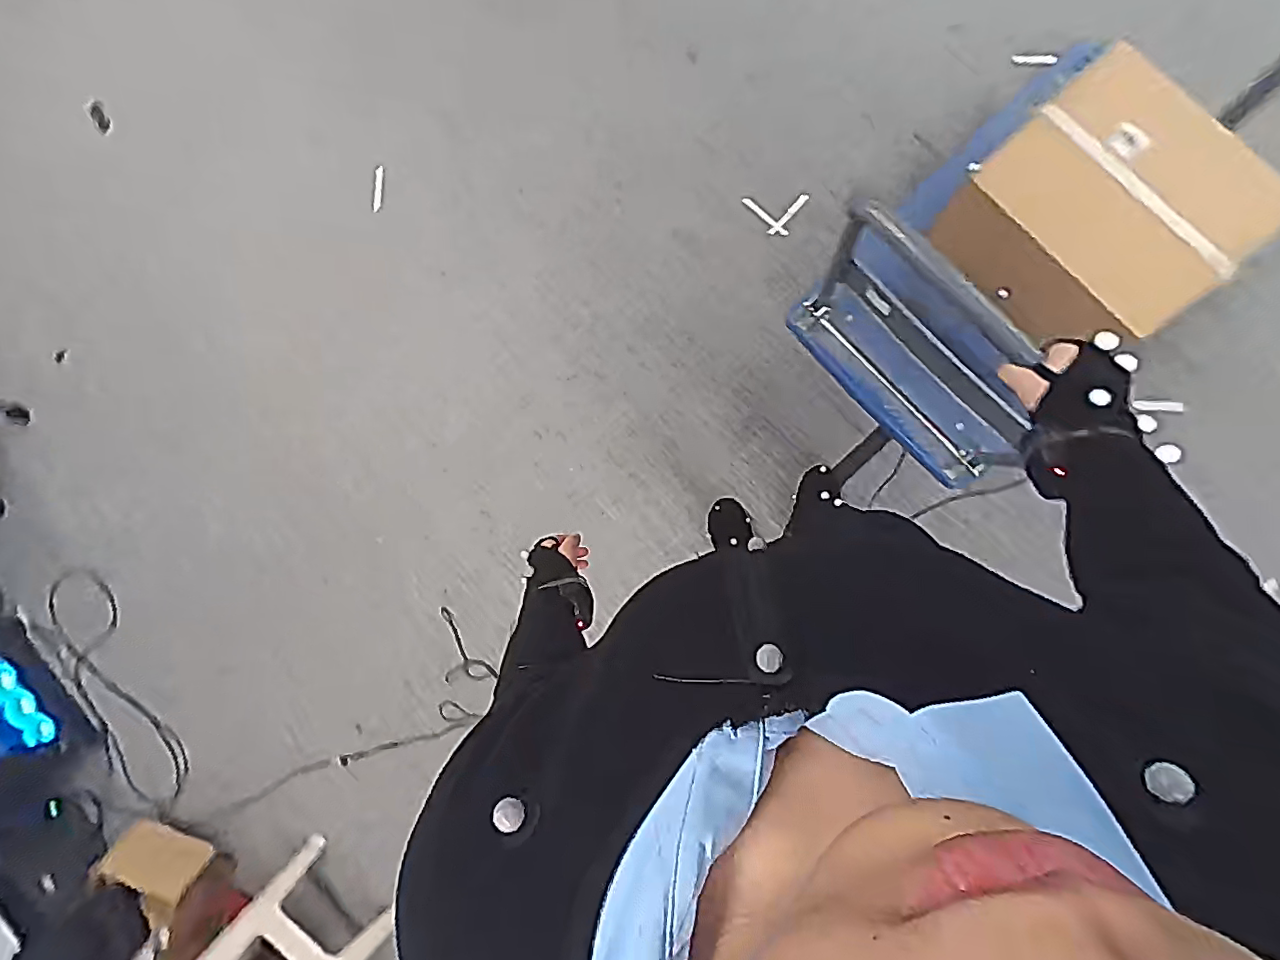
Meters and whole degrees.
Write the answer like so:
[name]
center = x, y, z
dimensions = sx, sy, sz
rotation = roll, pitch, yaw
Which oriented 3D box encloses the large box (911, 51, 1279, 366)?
[large box]
center = 0.838, -0.495, 1.070
dimensions = 0.320, 0.320, 0.408
rotation = -43, 82, 7
